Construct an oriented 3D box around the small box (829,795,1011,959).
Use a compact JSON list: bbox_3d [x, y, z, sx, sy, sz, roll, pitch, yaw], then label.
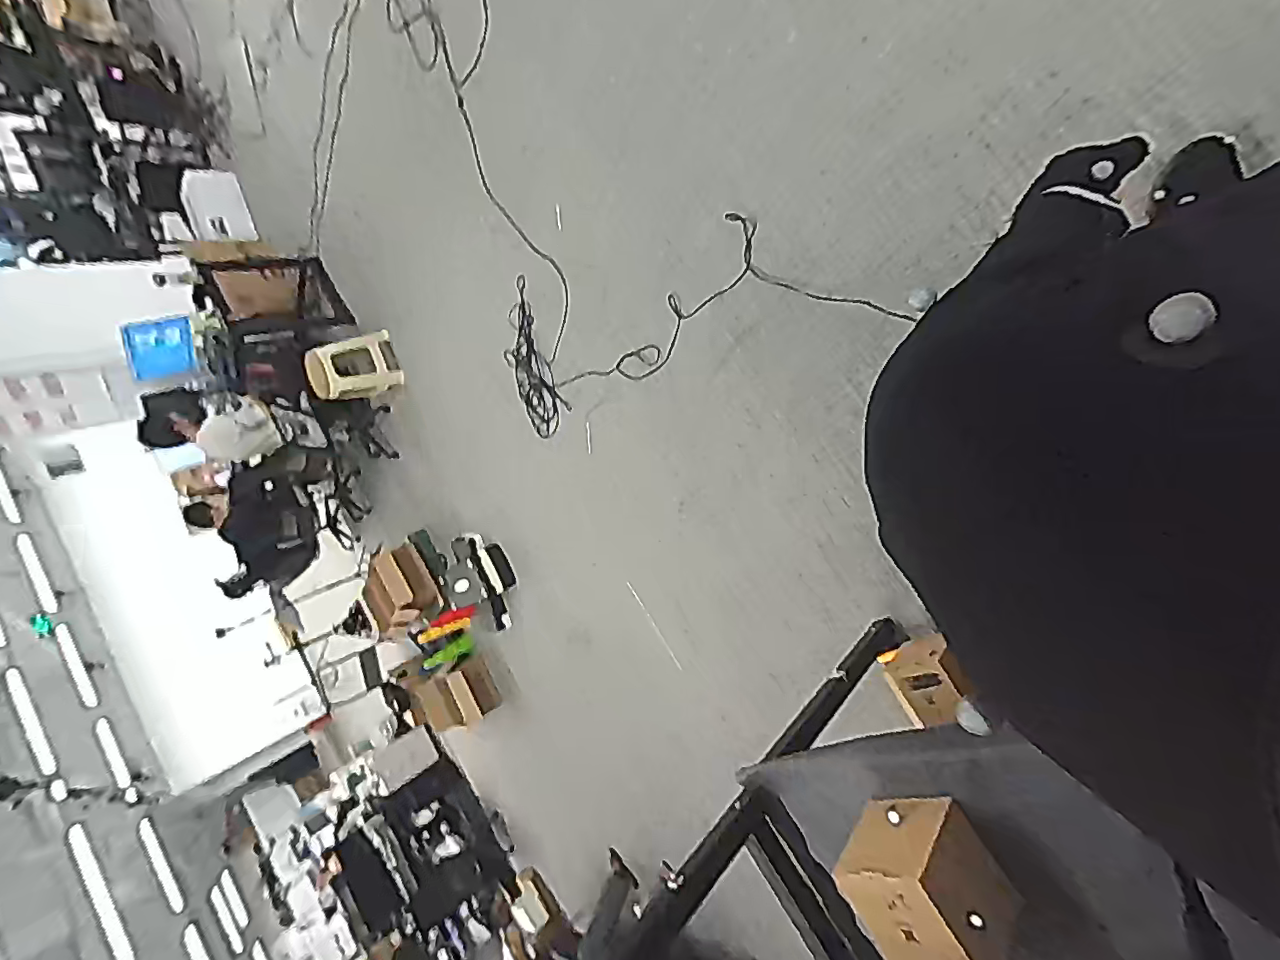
[{"bbox_3d":[0.445,0.636,0.854,0.179,0.176,0.168,57,137,8],"label":"small box"}]
